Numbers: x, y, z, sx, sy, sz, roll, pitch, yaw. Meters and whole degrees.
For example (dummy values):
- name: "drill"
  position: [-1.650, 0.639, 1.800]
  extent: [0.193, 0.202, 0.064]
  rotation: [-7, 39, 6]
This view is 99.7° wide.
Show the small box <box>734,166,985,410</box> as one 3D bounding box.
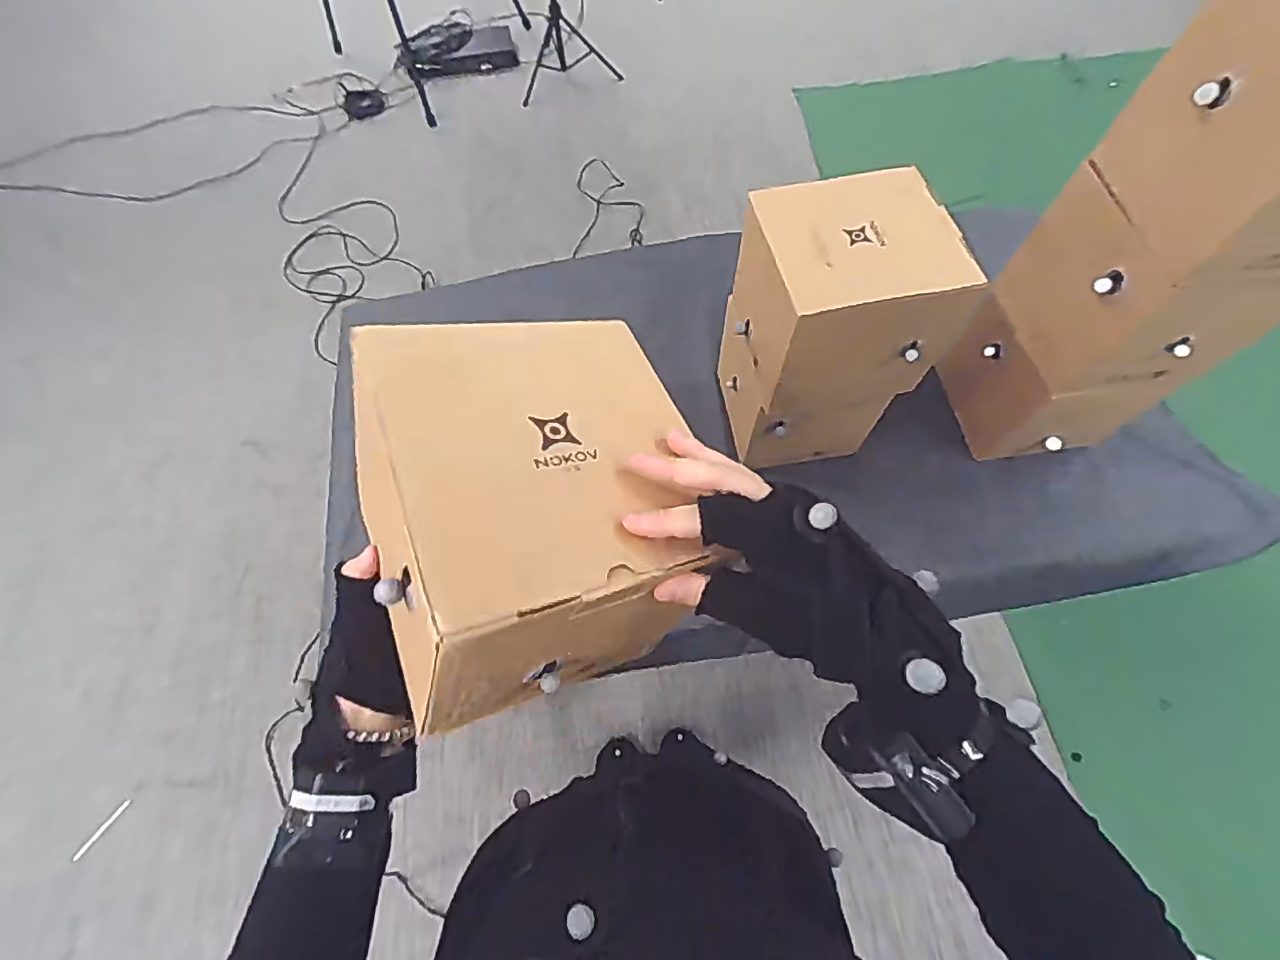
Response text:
- name: "small box"
  position: [0.212, -0.196, 0.581]
  extent: [0.179, 0.176, 0.168]
  rotation: [-10, 65, -2]

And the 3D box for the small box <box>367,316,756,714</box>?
- name: "small box"
  position: [-0.067, 0.019, 0.346]
  extent: [0.168, 0.176, 0.179]
  rotation: [-13, 63, -31]

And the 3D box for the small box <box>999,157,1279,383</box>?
- name: "small box"
  position: [0.533, -0.217, 0.575]
  extent: [0.168, 0.176, 0.179]
  rotation: [-6, 65, 0]
